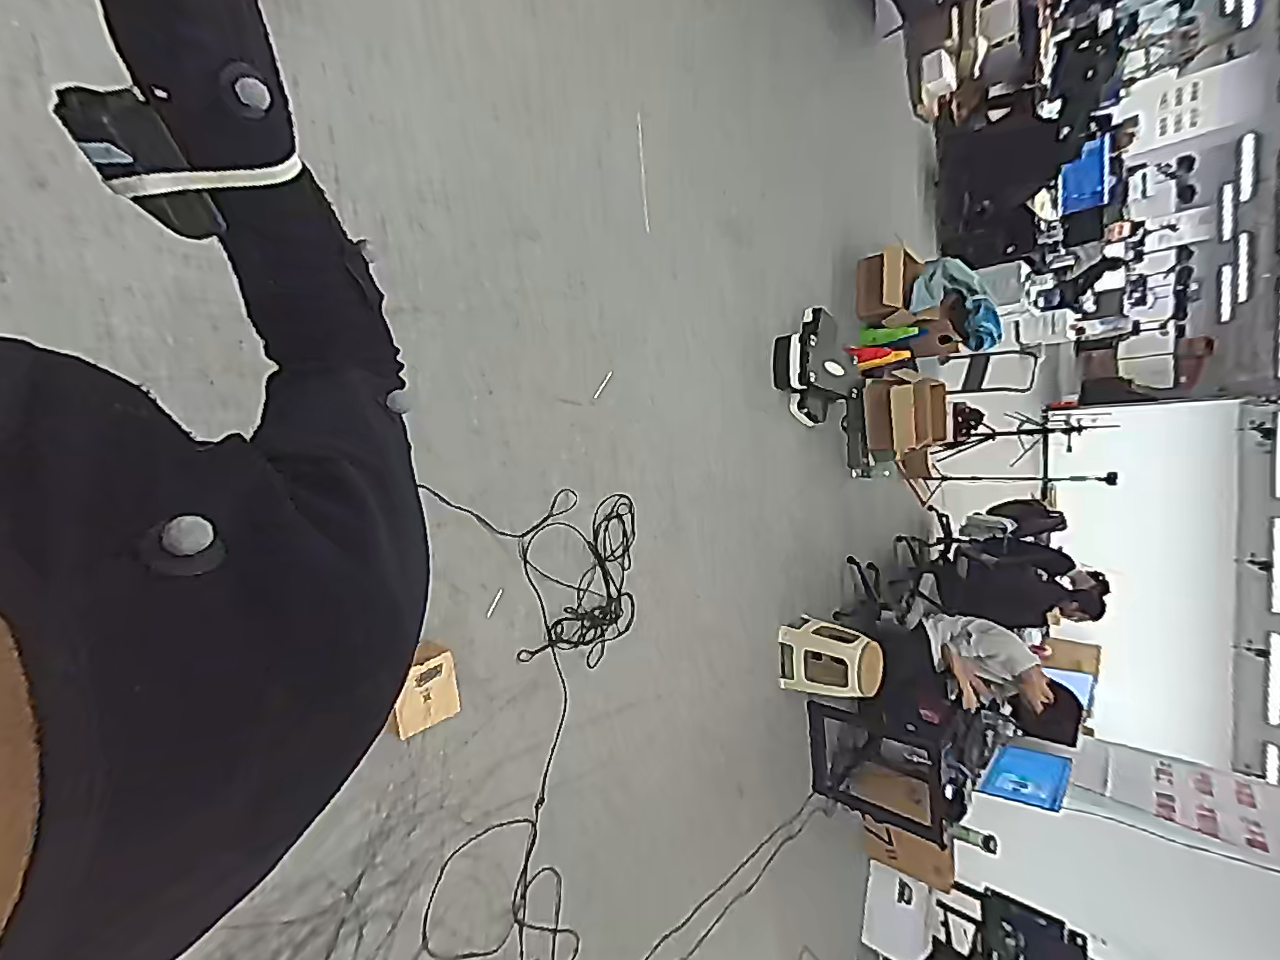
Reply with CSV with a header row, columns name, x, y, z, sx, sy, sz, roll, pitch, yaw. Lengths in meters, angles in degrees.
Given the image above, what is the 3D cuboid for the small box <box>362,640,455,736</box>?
name,x,y,z,sx,sy,sz,roll,pitch,yaw
small box,-0.623,0.544,1.450,0.168,0.176,0.179,-14,101,-46
